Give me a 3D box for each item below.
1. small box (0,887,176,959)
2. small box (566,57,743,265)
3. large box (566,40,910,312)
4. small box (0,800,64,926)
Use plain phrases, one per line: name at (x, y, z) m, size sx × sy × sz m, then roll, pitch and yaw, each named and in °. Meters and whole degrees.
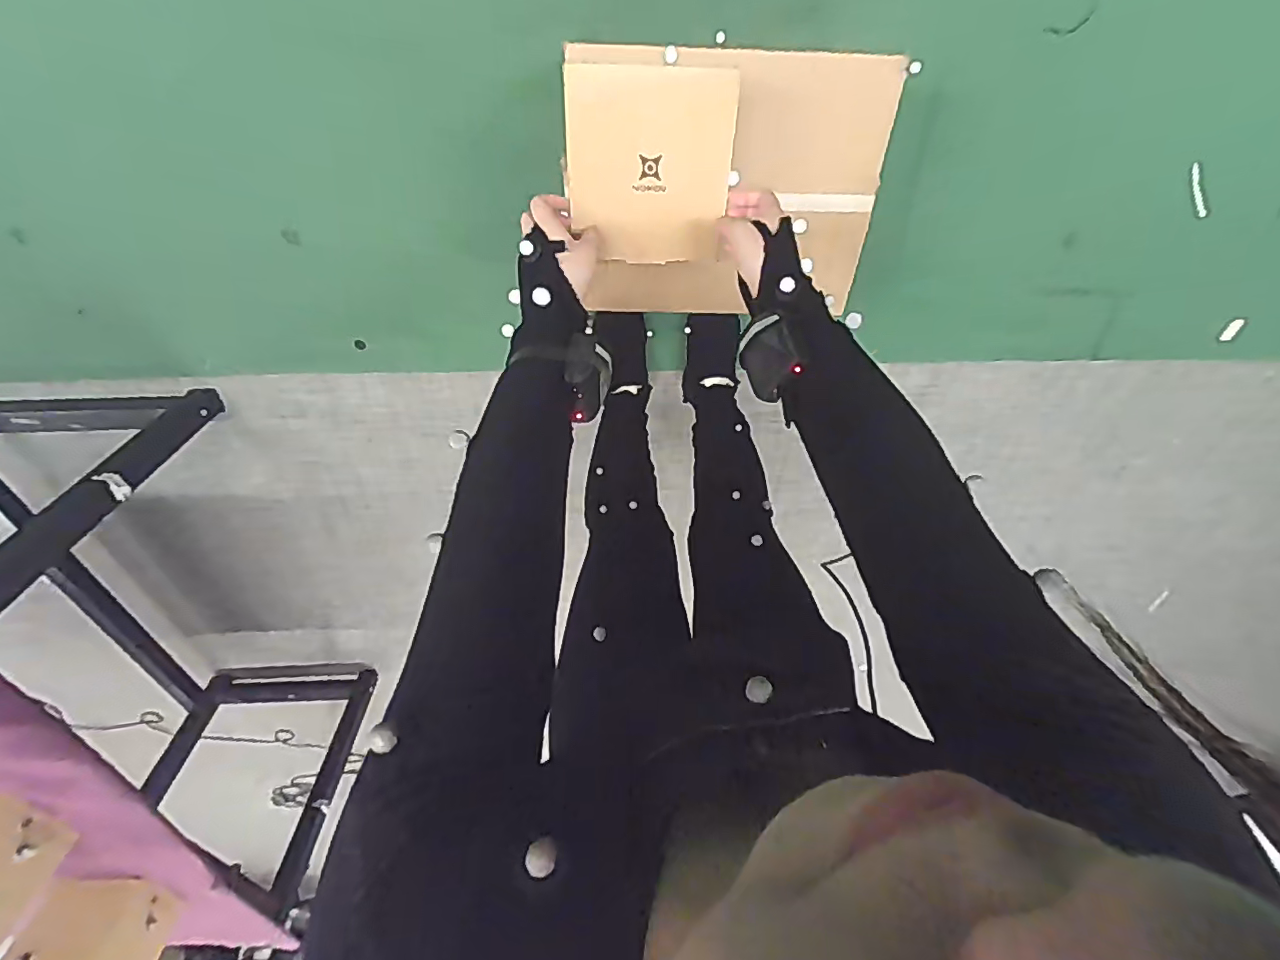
small box at (-1.049, 0.891, 1.018) m, size 0.179 × 0.176 × 0.168 m, roll -1°, pitch 129°, yaw 1°
small box at (0.007, -0.352, 0.597) m, size 0.168 × 0.176 × 0.179 m, roll 0°, pitch 128°, yaw -2°
large box at (0.107, -0.463, 0.823) m, size 0.408 × 0.320 × 0.320 m, roll 0°, pitch 129°, yaw -2°
small box at (-1.021, 0.580, 0.776) m, size 0.179 × 0.176 × 0.168 m, roll -1°, pitch 129°, yaw -1°
